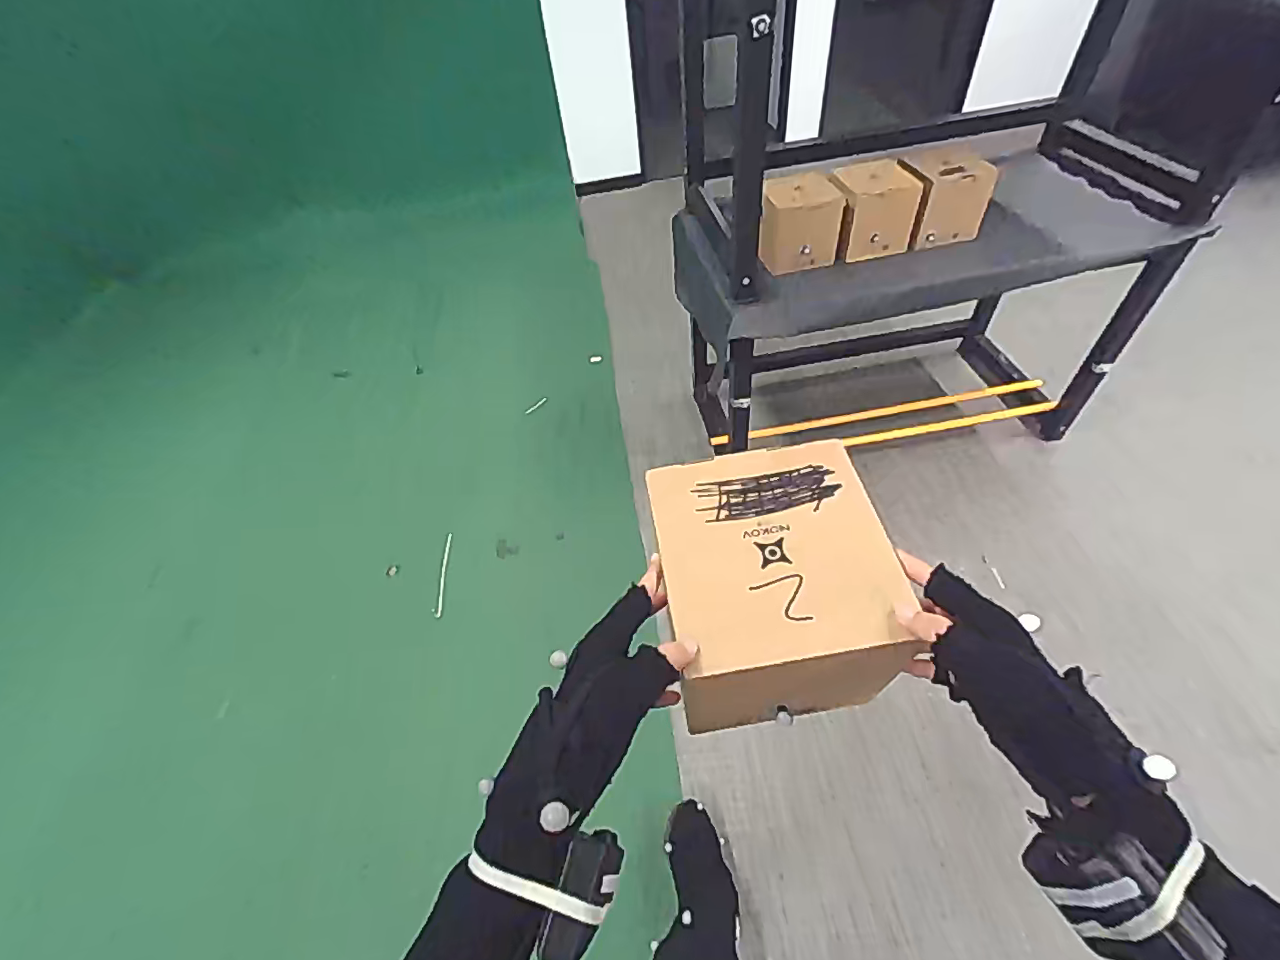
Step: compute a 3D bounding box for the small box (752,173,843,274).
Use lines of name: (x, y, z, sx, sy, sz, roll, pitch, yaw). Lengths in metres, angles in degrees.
small box: (0.389, -0.650, 1.371, 0.168, 0.176, 0.179, -12, 49, -2)

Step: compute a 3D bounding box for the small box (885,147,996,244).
small box: (0.757, -0.721, 1.384, 0.168, 0.176, 0.179, -11, 48, -2)
